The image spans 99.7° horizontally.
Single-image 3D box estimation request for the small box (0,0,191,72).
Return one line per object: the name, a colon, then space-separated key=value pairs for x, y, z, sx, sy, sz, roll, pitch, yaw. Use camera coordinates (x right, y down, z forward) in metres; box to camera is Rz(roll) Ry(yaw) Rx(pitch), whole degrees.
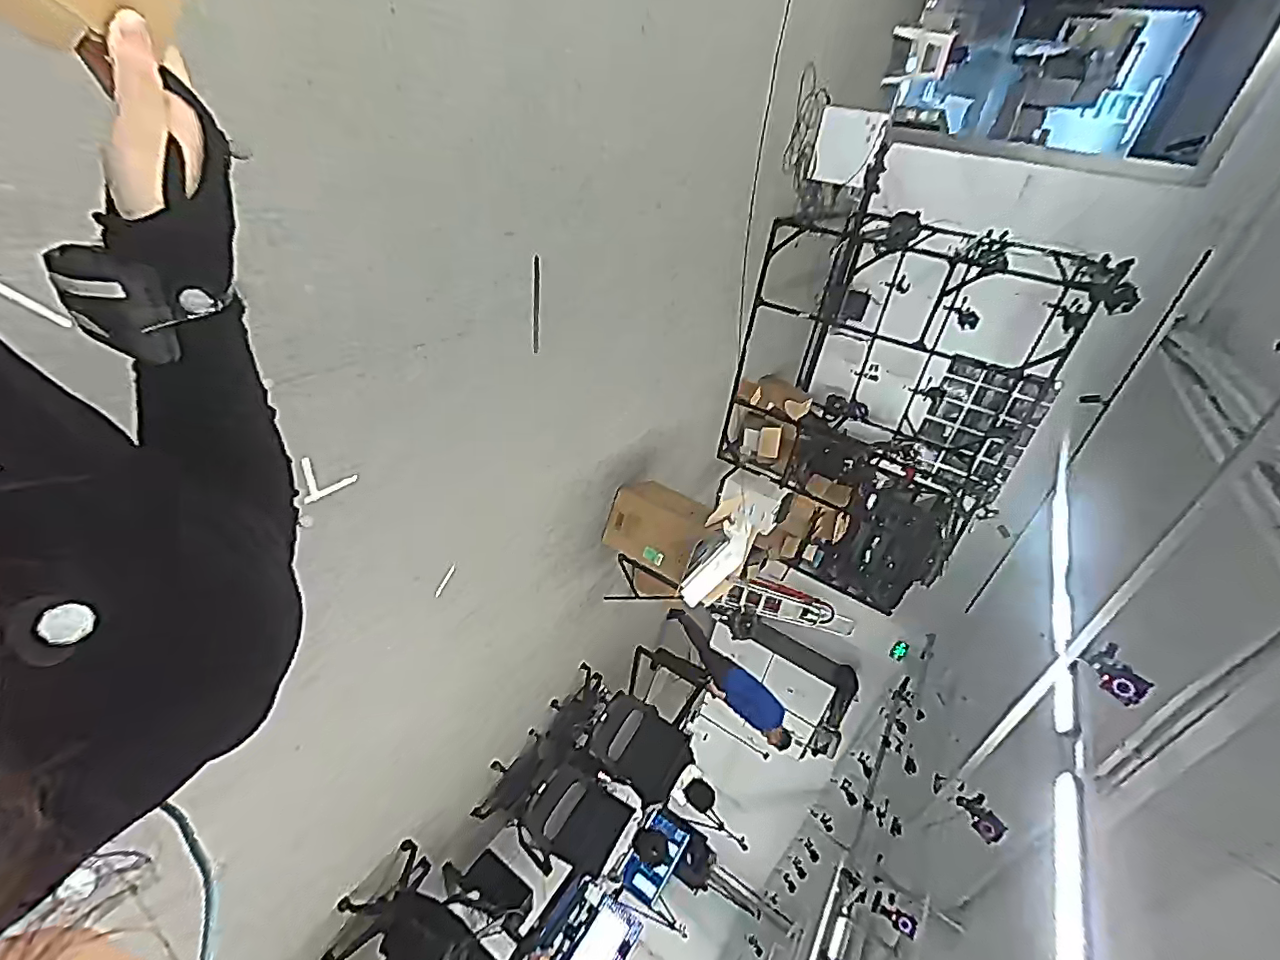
small box: x=-0.303 y=-0.327 z=0.214 sx=0.179 sy=0.176 sz=0.168 roll=-65 pitch=172 yaw=4
